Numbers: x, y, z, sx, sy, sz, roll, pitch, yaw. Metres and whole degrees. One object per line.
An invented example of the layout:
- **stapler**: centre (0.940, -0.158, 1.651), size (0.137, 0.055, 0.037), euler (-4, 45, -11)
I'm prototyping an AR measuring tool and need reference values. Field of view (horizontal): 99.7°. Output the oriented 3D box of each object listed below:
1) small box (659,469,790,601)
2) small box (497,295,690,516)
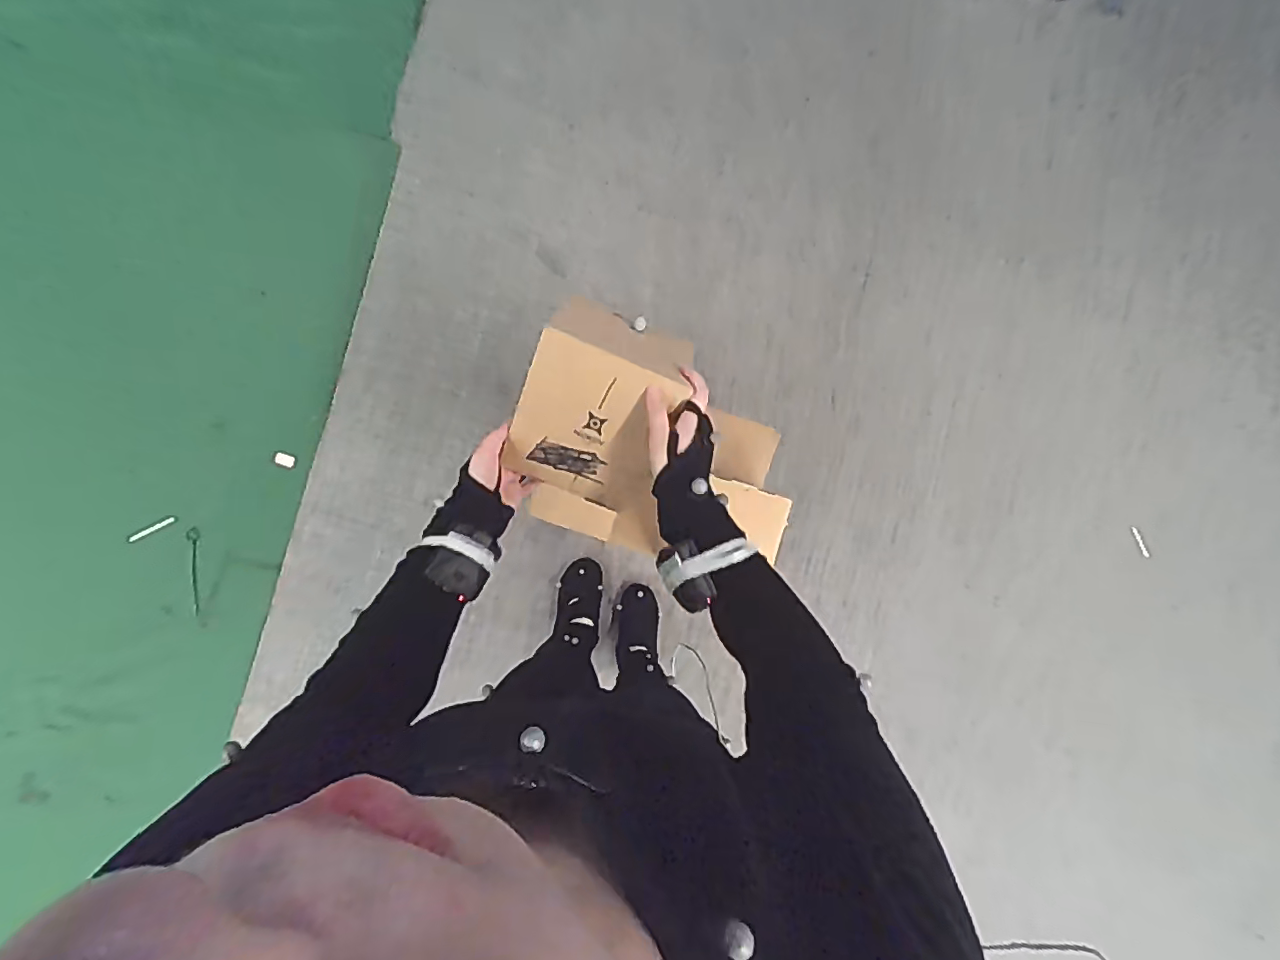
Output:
- **small box**: centre (0.136, 0.089, 0.942), size (0.168, 0.176, 0.179), euler (17, 88, -3)
- **small box**: centre (-0.049, -0.094, 0.647), size (0.168, 0.176, 0.179), euler (22, 120, -9)
